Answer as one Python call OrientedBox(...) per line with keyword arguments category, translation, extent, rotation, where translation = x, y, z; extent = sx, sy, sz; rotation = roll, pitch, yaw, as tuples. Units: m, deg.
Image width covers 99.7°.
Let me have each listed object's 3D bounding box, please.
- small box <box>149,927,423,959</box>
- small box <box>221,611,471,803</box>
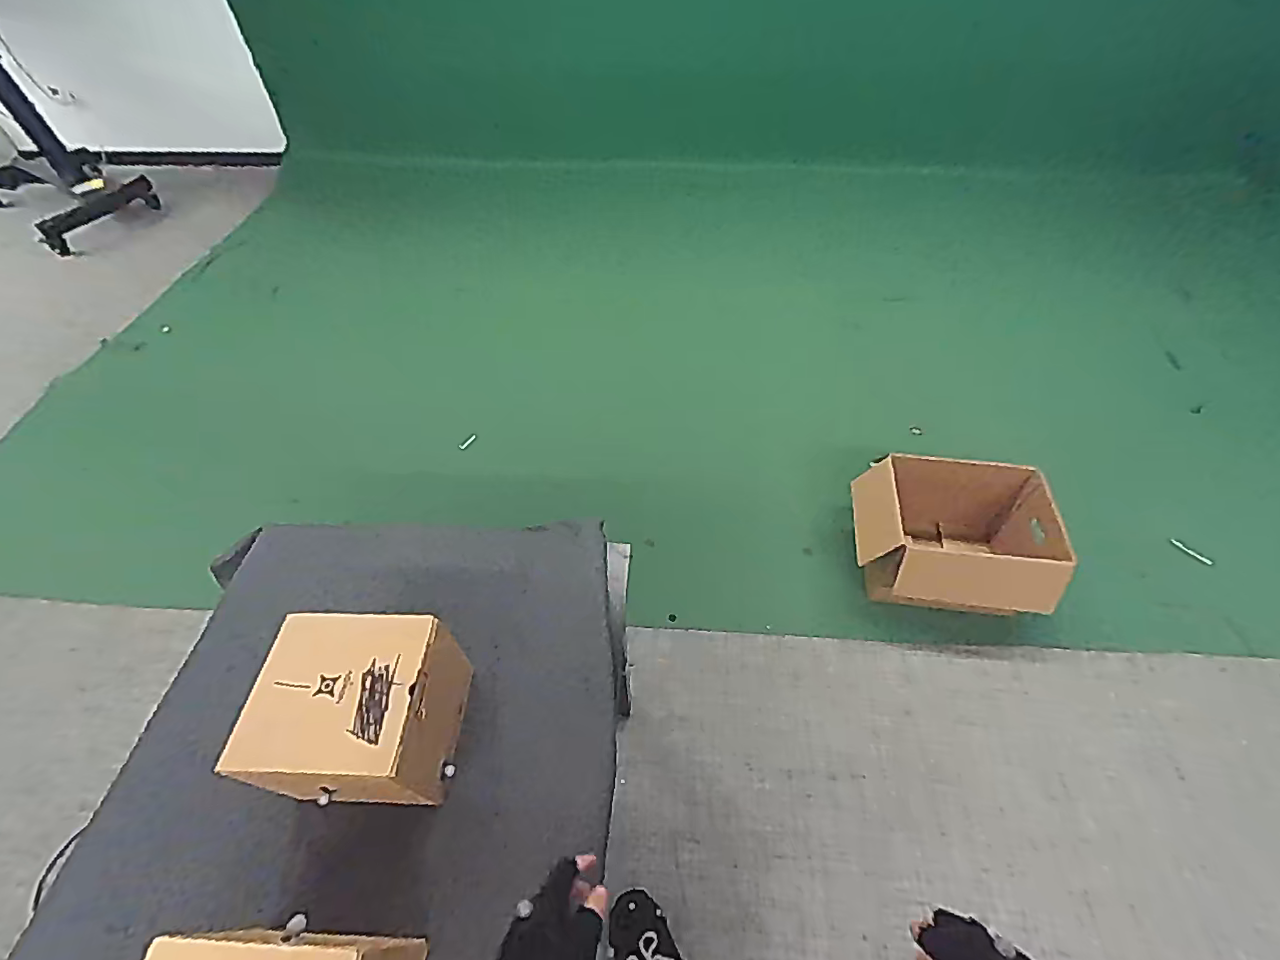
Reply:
OrientedBox(category="small box", translation=(-0.312, 0.488, 0.453), extent=(0.179, 0.176, 0.168), rotation=(2, 50, 2))
OrientedBox(category="small box", translation=(-0.315, 0.267, 0.629), extent=(0.179, 0.176, 0.168), rotation=(1, 51, 3))
